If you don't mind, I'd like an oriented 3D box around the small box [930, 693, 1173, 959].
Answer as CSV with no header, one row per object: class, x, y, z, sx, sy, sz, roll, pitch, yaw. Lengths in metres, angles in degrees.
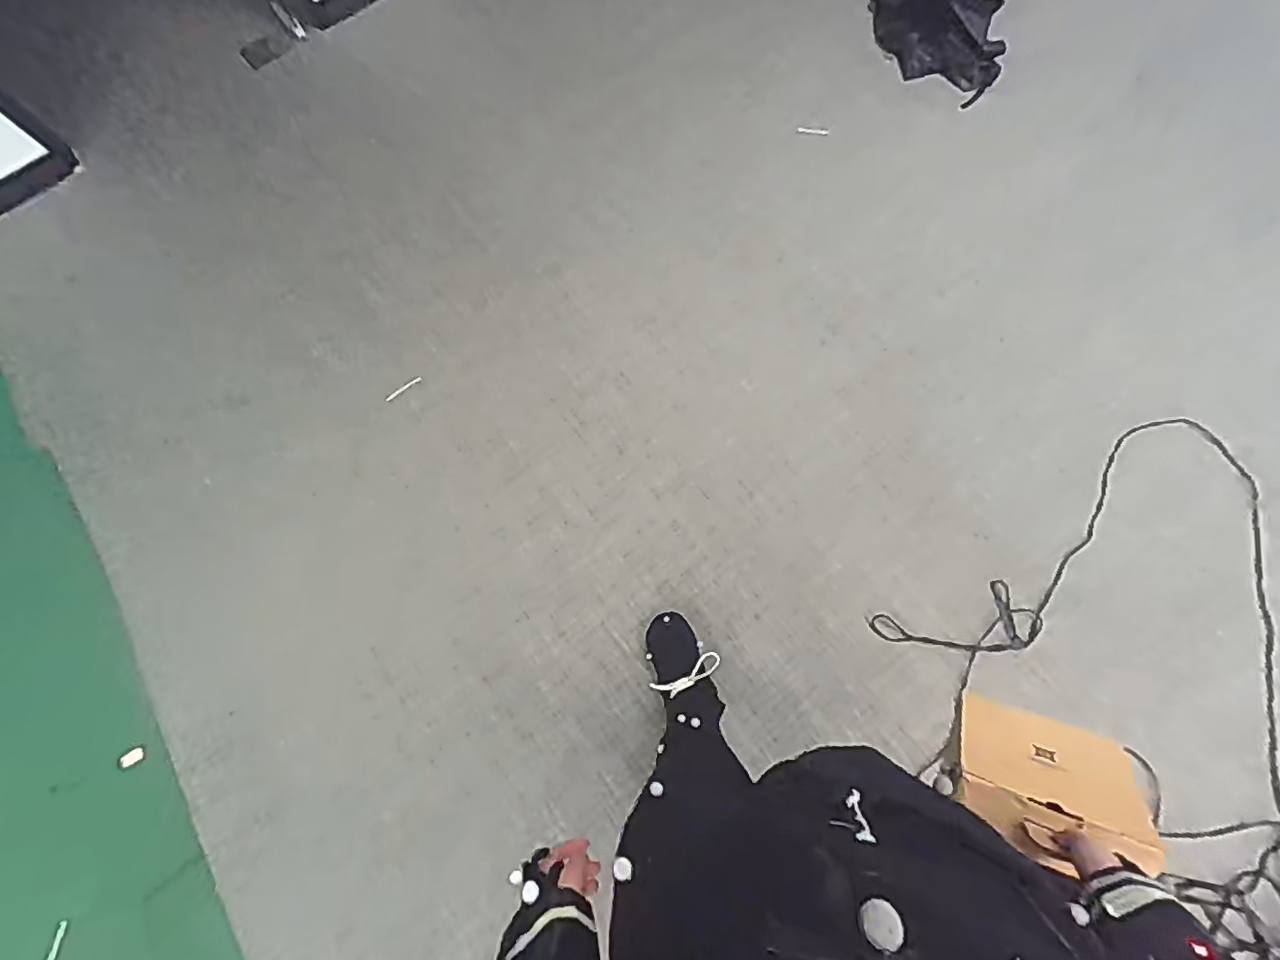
small box,0.438,0.383,0.607,0.168,0.179,0.176,14,107,28
